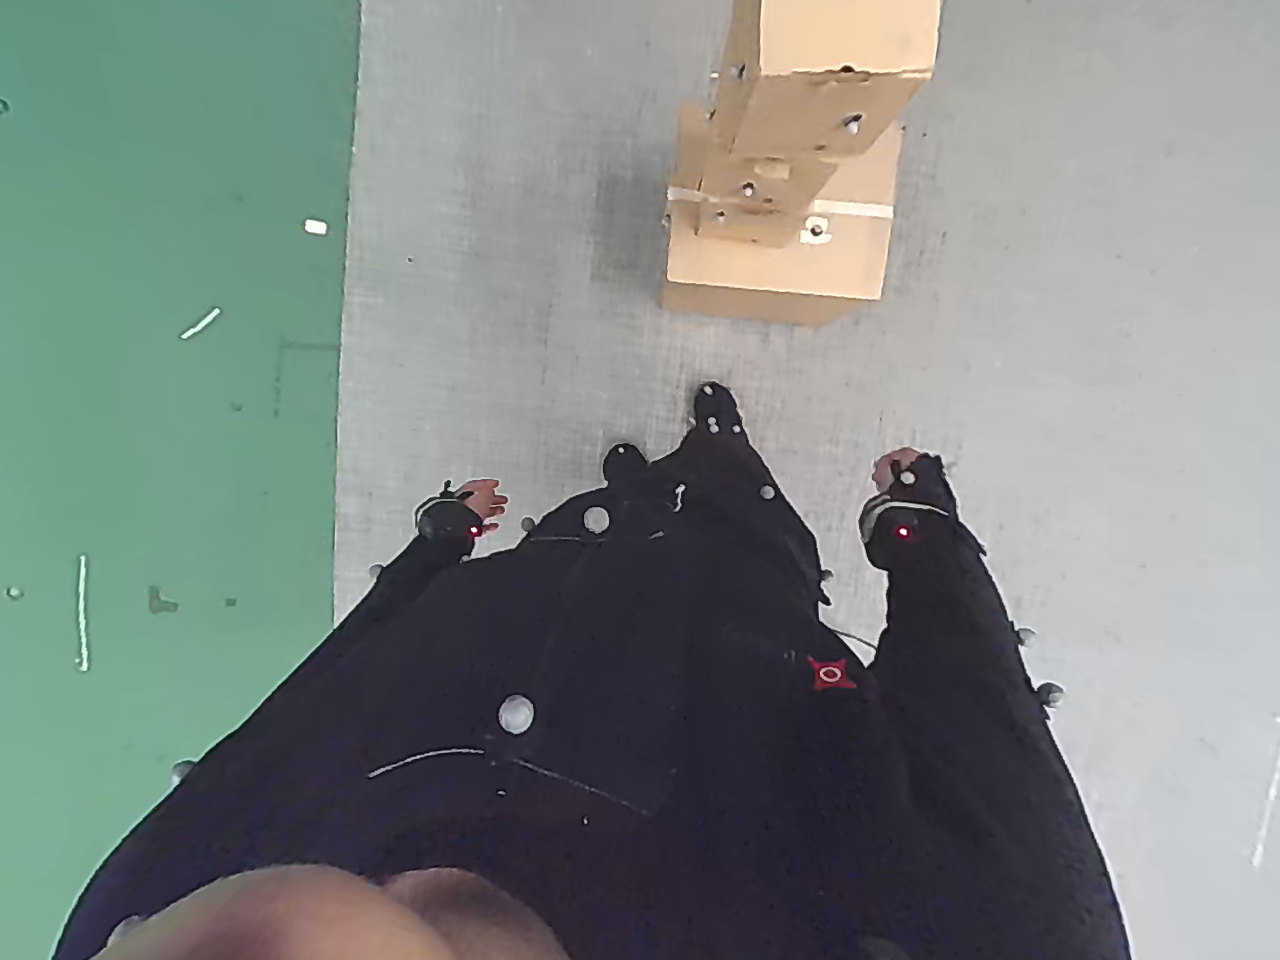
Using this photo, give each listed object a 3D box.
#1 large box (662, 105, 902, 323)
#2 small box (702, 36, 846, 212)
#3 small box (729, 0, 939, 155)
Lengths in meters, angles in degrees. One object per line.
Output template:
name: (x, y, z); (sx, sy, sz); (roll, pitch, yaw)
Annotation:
large box: (0.259, -0.522, 1.131); (0.408, 0.320, 0.320); (5, 98, -1)
small box: (0.184, -0.493, 0.725); (0.168, 0.176, 0.179); (11, 97, -1)
small box: (0.190, -0.466, 0.565); (0.168, 0.176, 0.179); (0, 97, -1)
